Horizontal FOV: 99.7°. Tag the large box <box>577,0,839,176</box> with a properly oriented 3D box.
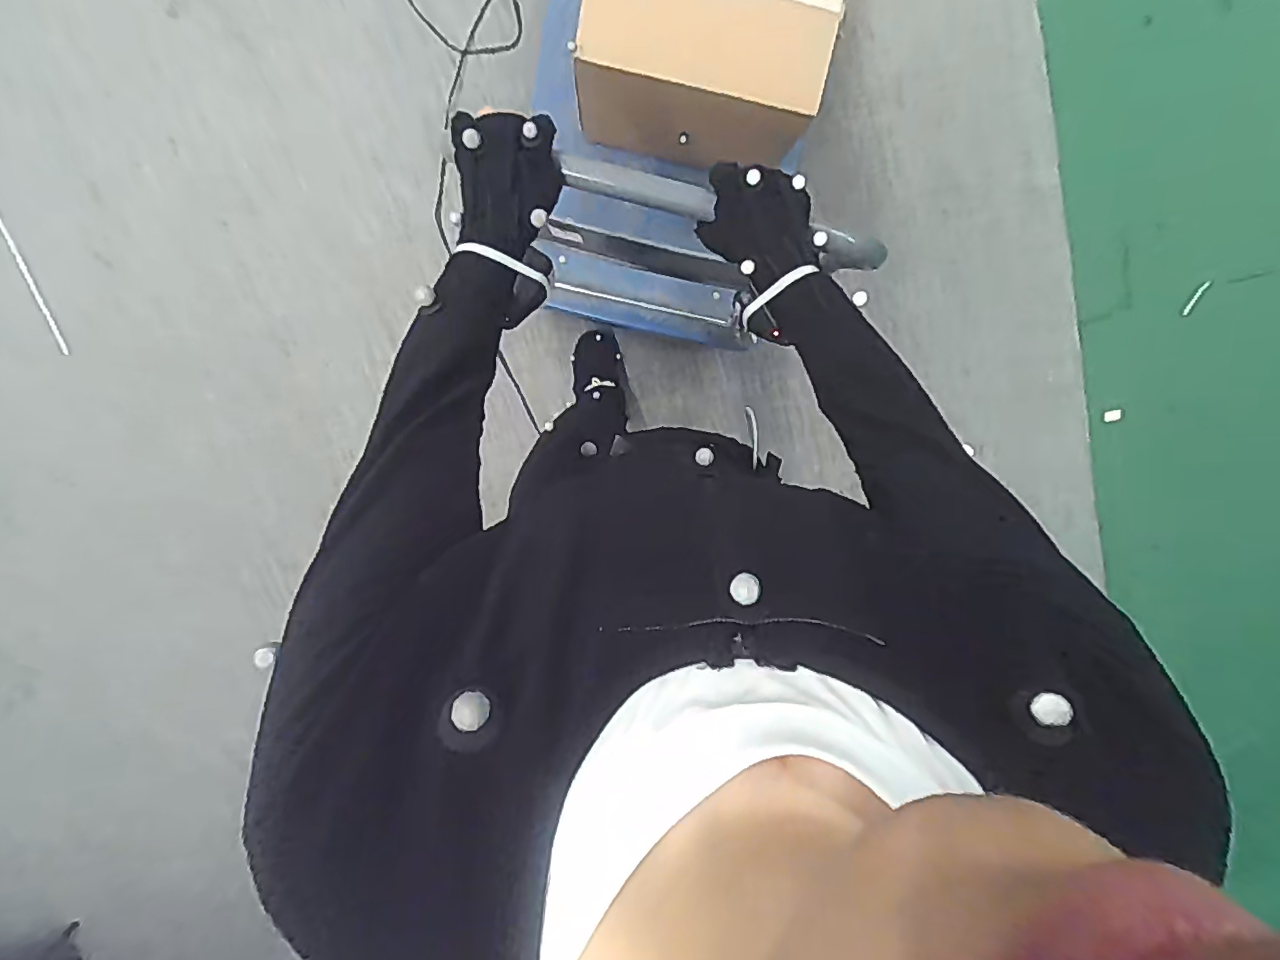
[{"bbox_3d":[0.116,-0.809,0.997,0.408,0.320,0.320,10,100,-4],"label":"large box"}]
